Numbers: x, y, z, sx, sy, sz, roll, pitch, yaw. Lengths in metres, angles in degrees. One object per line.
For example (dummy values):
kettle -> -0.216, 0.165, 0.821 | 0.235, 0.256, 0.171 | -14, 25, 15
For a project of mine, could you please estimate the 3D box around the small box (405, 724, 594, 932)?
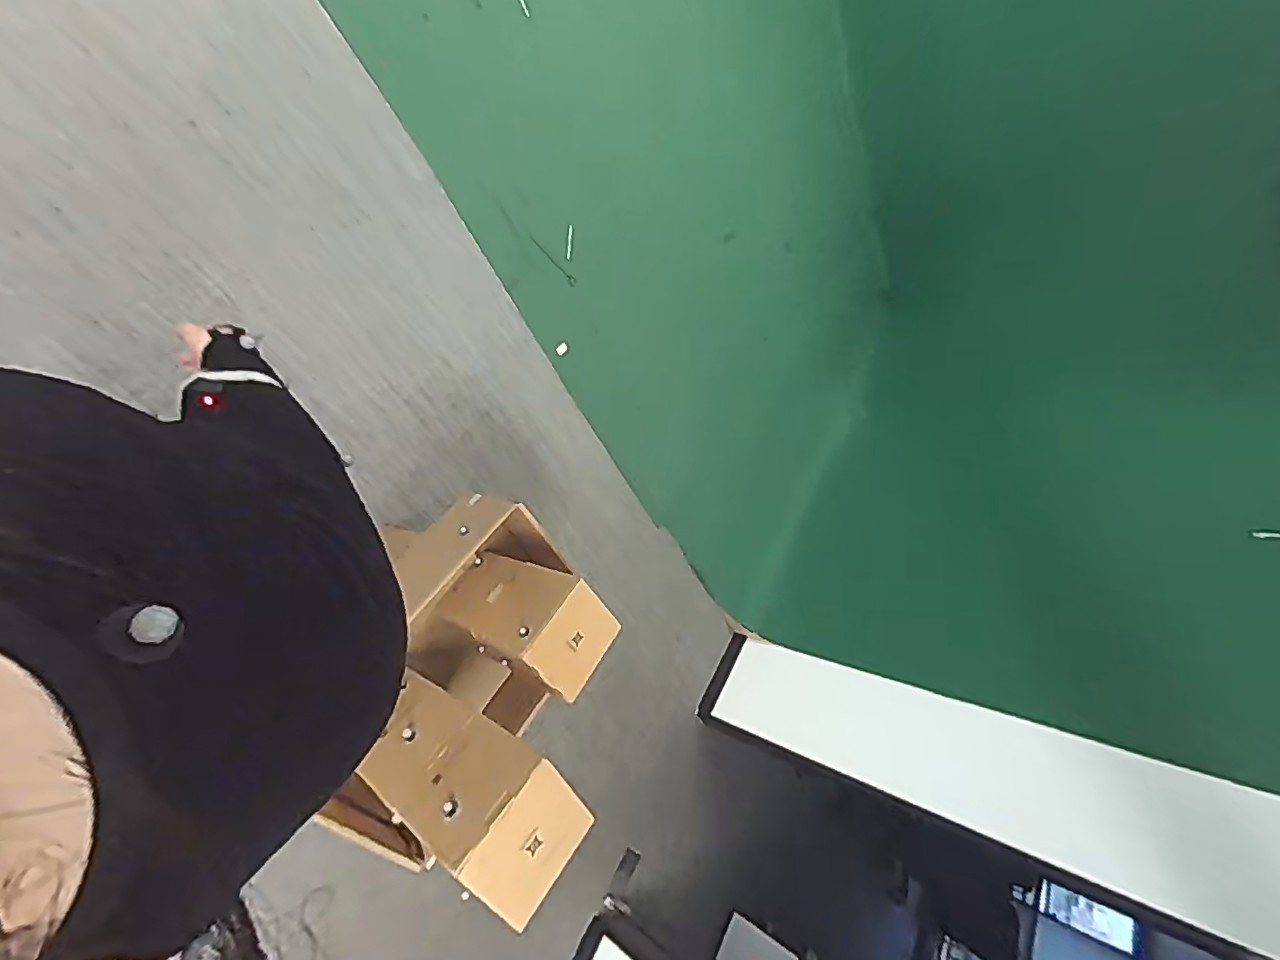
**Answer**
small box -> -0.204, 0.487, 0.785 | 0.168, 0.176, 0.179 | -45, 125, -34

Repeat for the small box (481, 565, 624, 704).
small box -> -0.169, 0.287, 1.042 | 0.179, 0.176, 0.168 | -52, 128, -28

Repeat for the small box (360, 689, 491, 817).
small box -> -0.324, 0.474, 0.897 | 0.168, 0.176, 0.179 | -46, 124, -33
